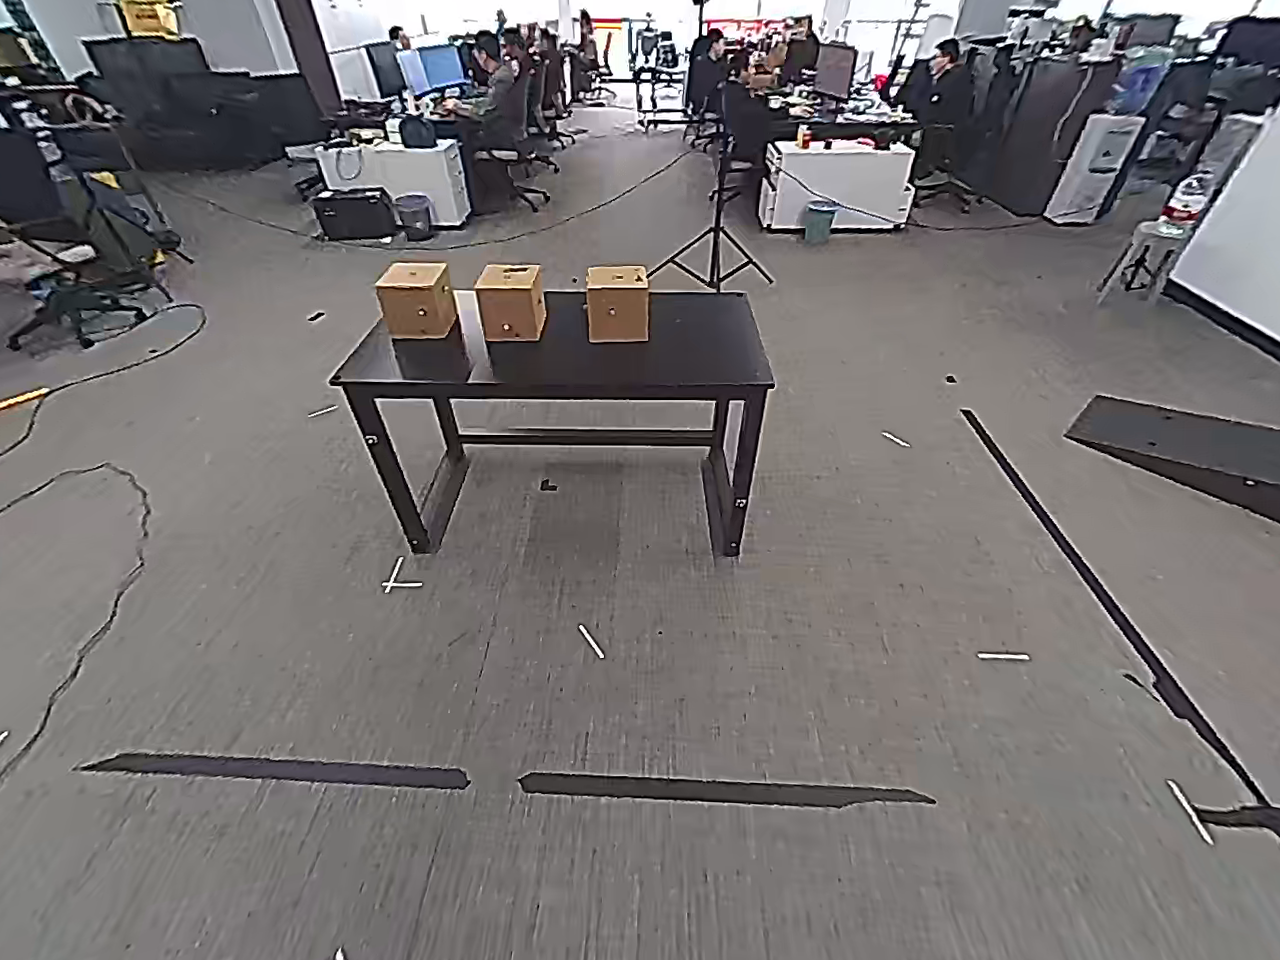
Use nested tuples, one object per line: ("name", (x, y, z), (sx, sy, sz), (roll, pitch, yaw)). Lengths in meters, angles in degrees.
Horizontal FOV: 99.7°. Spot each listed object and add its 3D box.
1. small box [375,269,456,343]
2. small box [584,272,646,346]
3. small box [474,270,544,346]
("small box", (-0.679, -0.533, 1.661), (0.168, 0.176, 0.179), (0, 41, -2))
("small box", (-0.074, -0.517, 1.644), (0.179, 0.176, 0.168), (-3, 42, -2))
("small box", (-0.392, -0.525, 1.651), (0.168, 0.176, 0.179), (0, 42, 0))
